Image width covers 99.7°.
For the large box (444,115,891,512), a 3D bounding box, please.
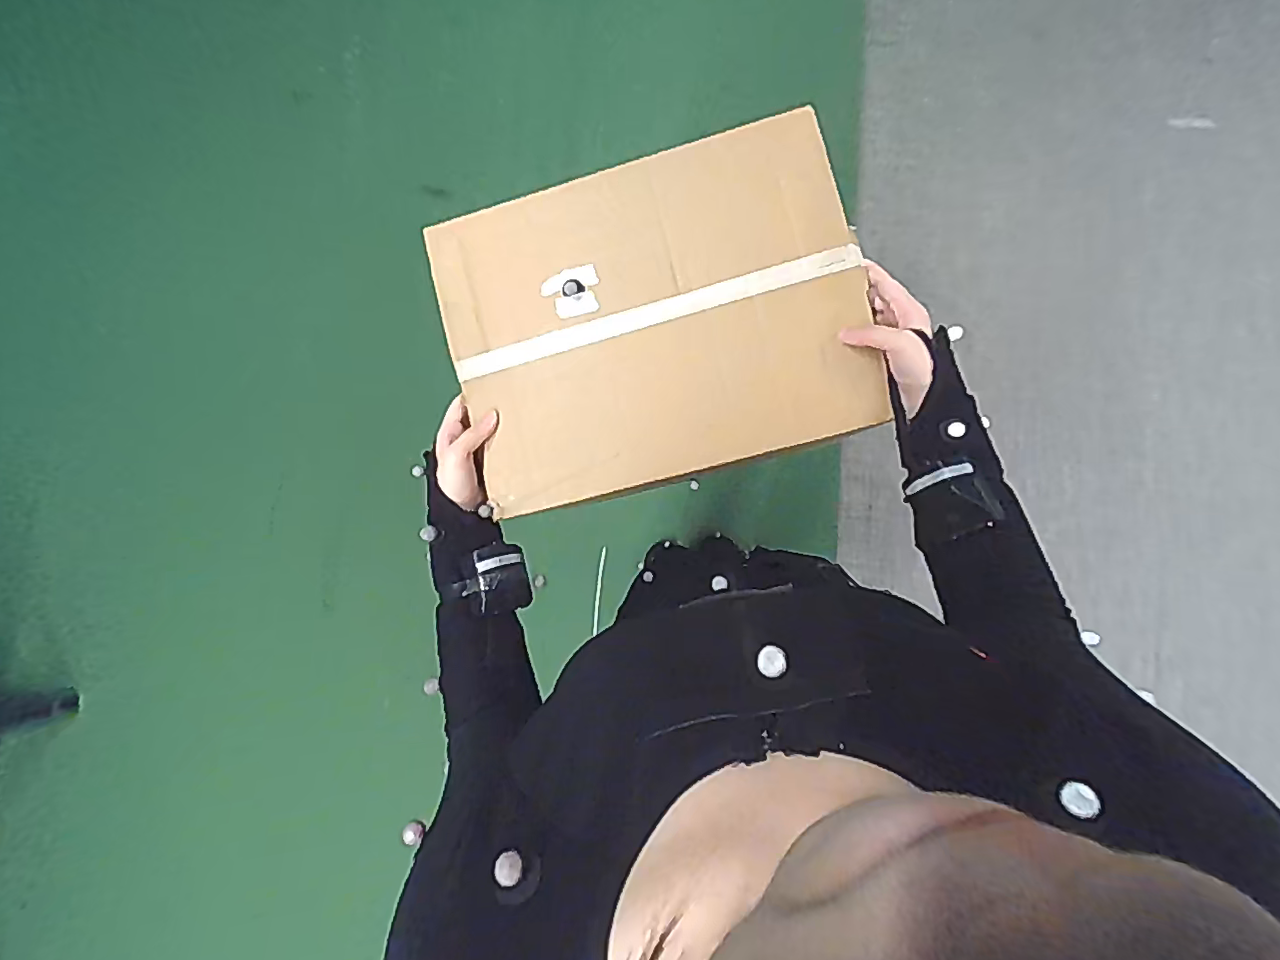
[{"bbox_3d":[0.036,-0.161,0.692,0.408,0.320,0.320,-14,87,8],"label":"large box"}]
